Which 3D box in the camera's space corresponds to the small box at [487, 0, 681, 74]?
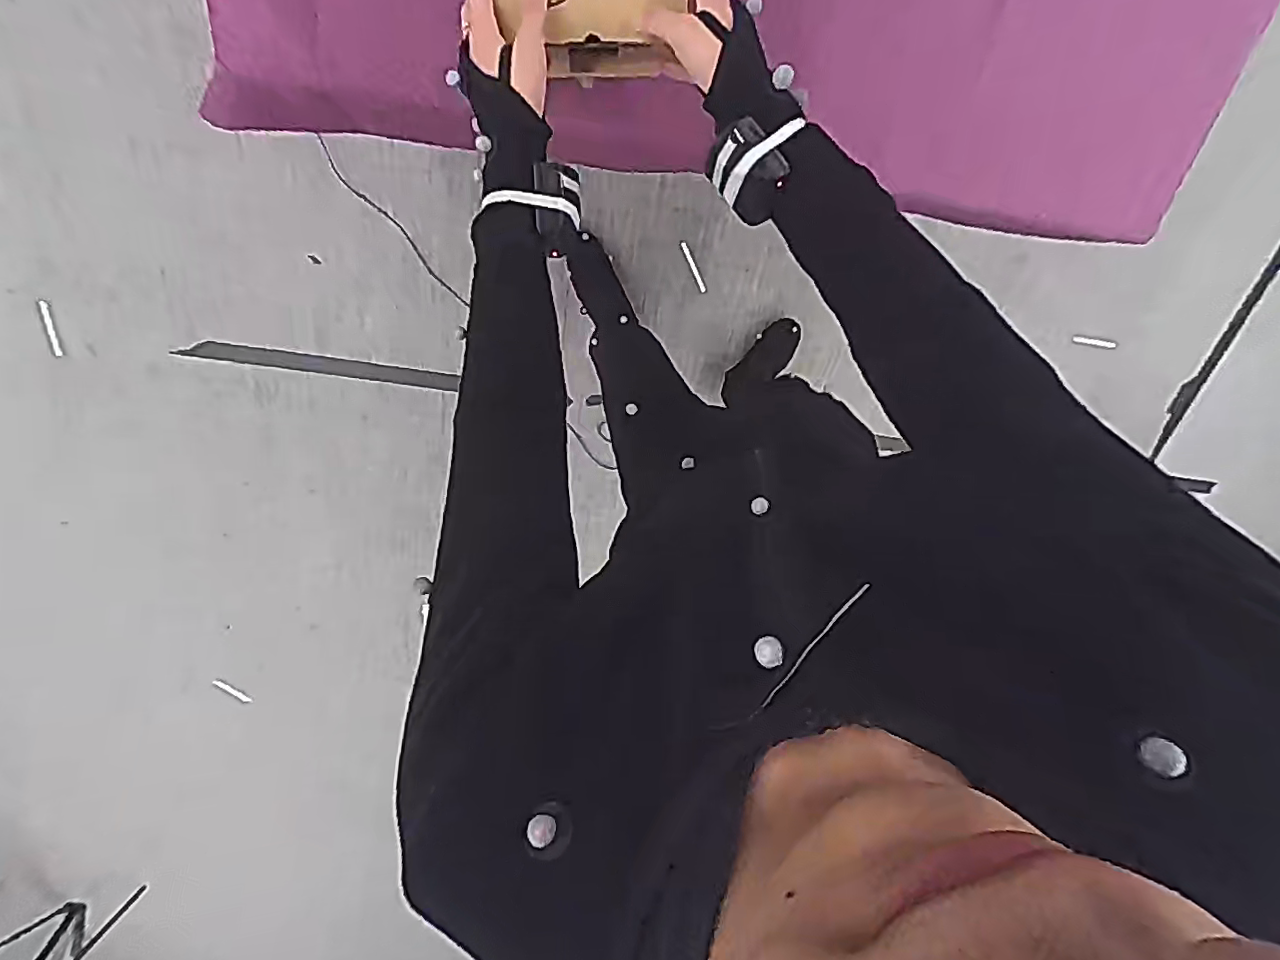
[{"bbox_3d":[-0.056,-0.495,0.493,0.168,0.176,0.179,-4,120,-6],"label":"small box"}]
